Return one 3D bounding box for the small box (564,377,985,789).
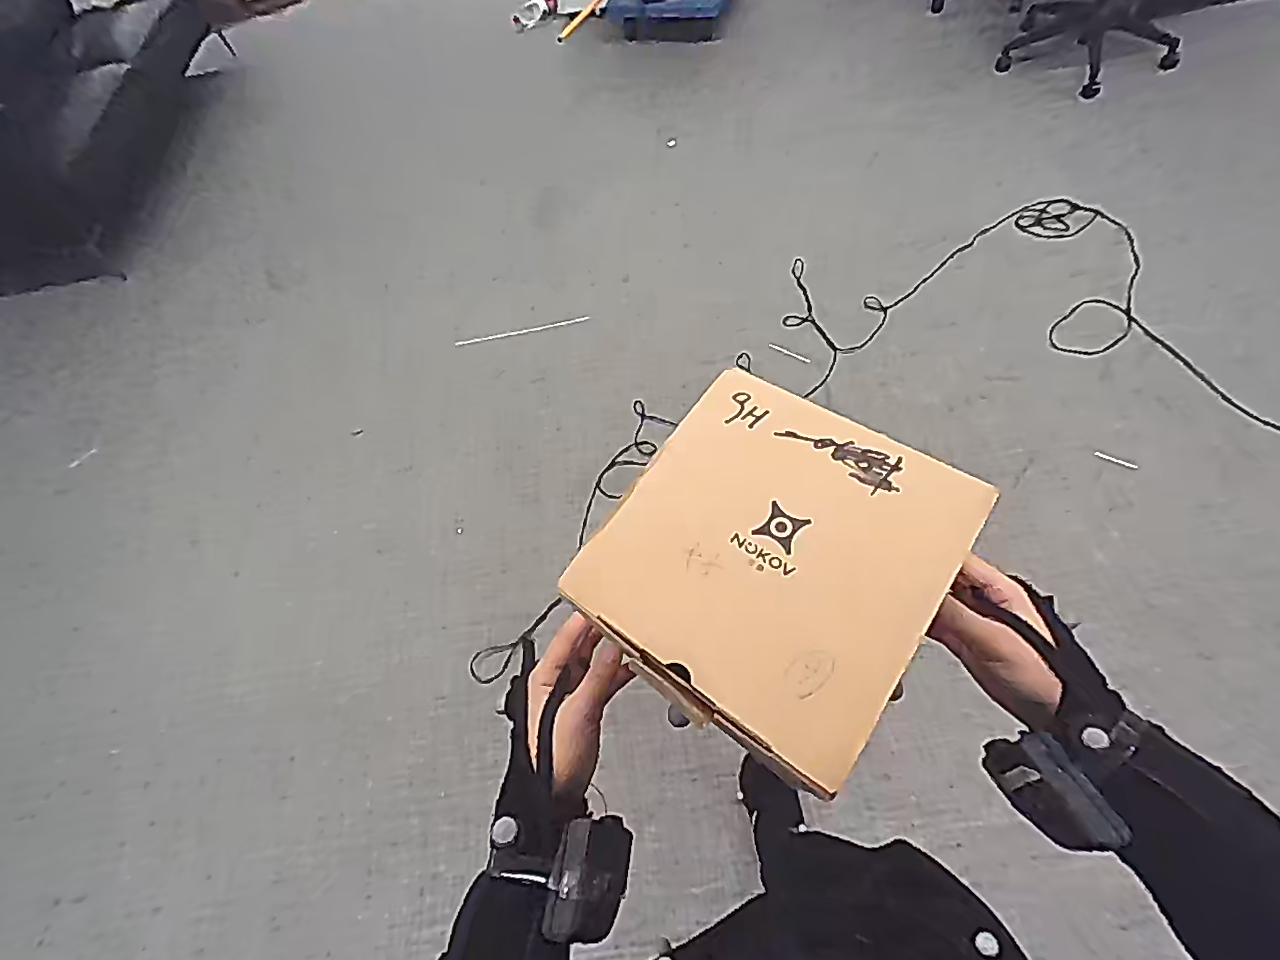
[{"bbox_3d":[0.084,0.072,0.363,0.168,0.176,0.179,32,73,24],"label":"small box"}]
